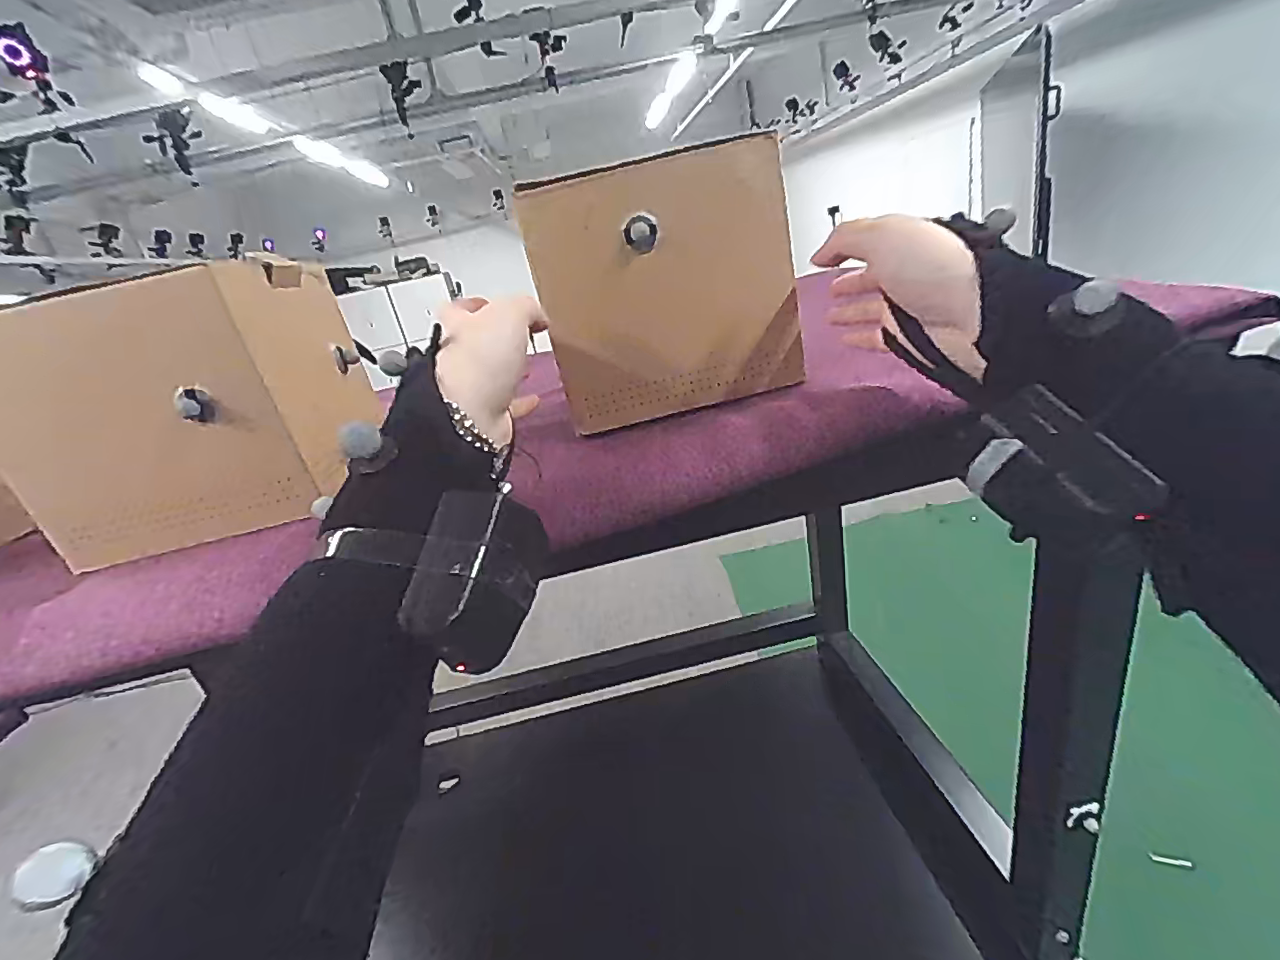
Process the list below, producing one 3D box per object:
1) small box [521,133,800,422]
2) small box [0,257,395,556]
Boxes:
[{"bbox_3d":[0.017,-0.156,0.452,0.179,0.176,0.168,-13,20,-1],"label":"small box"},{"bbox_3d":[-0.318,-0.065,0.417,0.179,0.176,0.168,-14,22,-3],"label":"small box"}]
